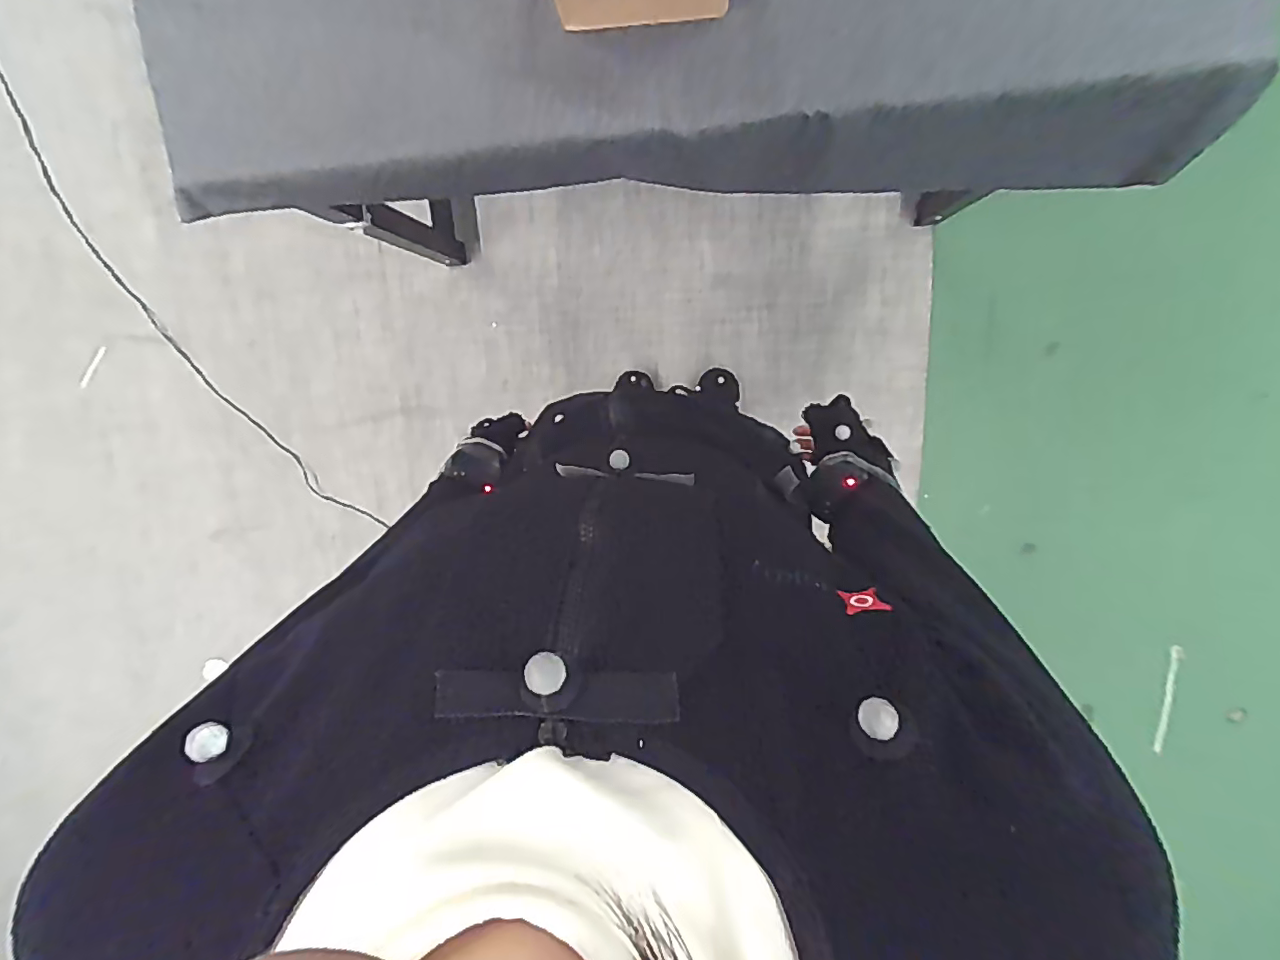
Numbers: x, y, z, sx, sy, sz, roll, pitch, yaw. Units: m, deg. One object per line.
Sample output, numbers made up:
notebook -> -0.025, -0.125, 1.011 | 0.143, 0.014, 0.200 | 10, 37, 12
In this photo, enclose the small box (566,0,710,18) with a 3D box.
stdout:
small box -> -0.004, -0.565, 0.488 | 0.179, 0.176, 0.168 | -4, 101, 5
